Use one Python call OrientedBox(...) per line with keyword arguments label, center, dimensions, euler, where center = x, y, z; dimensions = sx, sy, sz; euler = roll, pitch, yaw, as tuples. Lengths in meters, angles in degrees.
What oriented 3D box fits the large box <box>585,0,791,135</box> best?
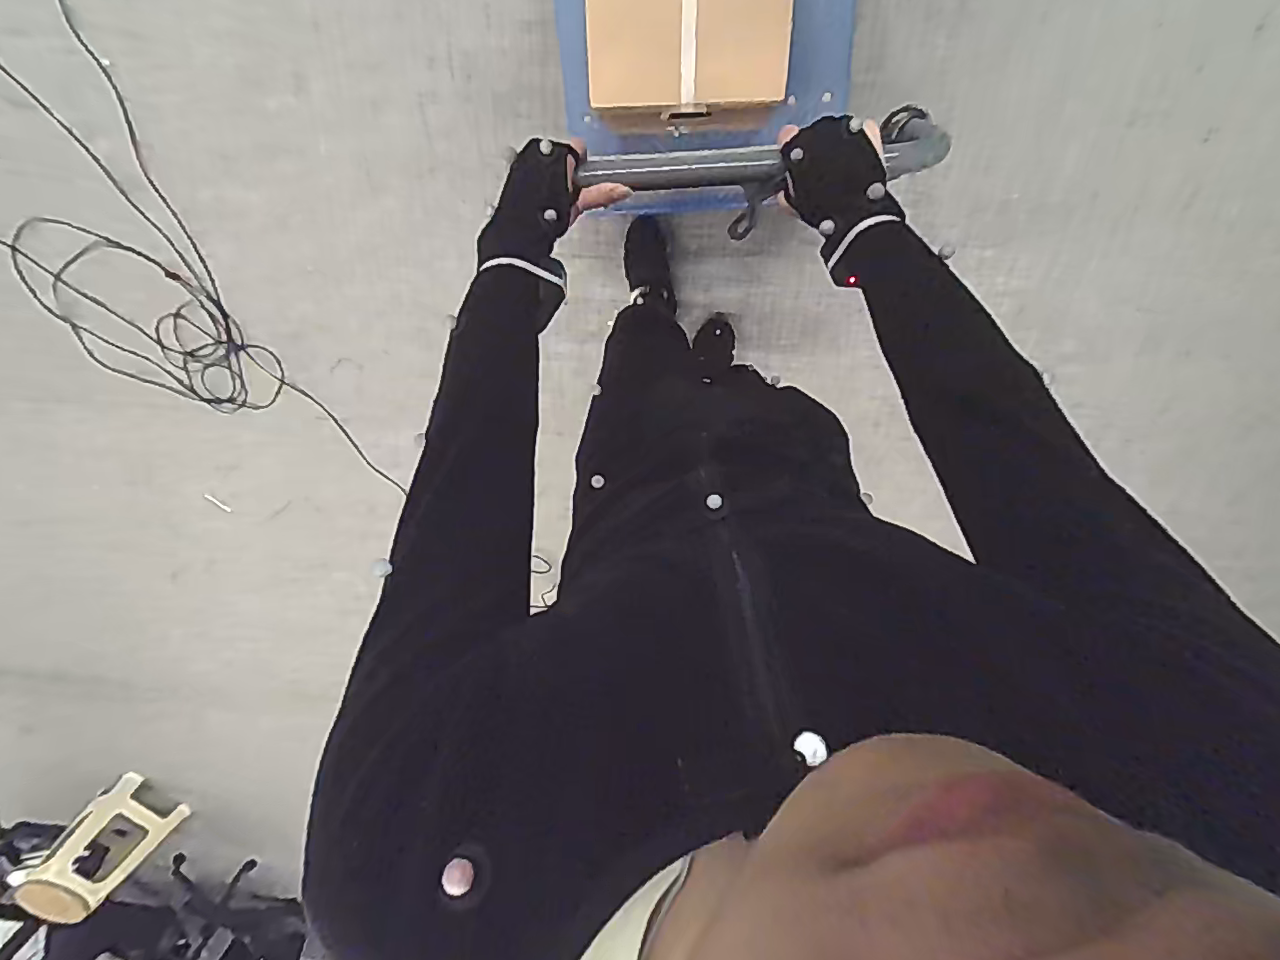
OrientedBox(label="large box", center=(0.084, -0.848, 0.917), dimensions=(0.320, 0.320, 0.408), euler=(1, 116, 5))
